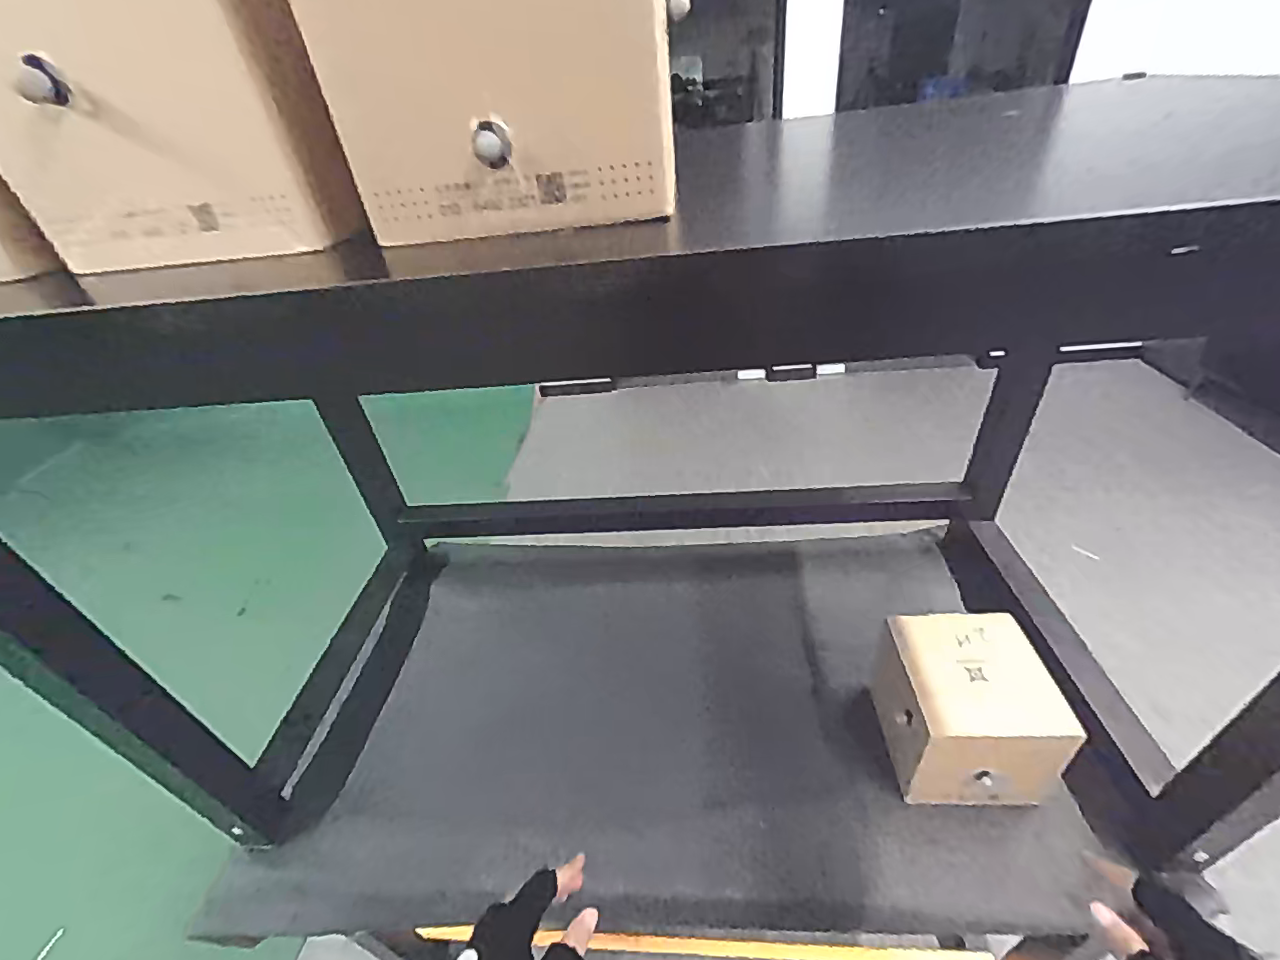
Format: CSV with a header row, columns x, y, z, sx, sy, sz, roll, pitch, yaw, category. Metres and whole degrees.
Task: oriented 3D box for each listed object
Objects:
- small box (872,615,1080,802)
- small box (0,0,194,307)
x,y,z,sx,sy,sz,roll,pitch,yaw,category
0.425,0.304,0.721,0.168,0.176,0.179,-3,35,6,small box
-0.463,-0.225,0.368,0.168,0.176,0.179,-4,37,6,small box
